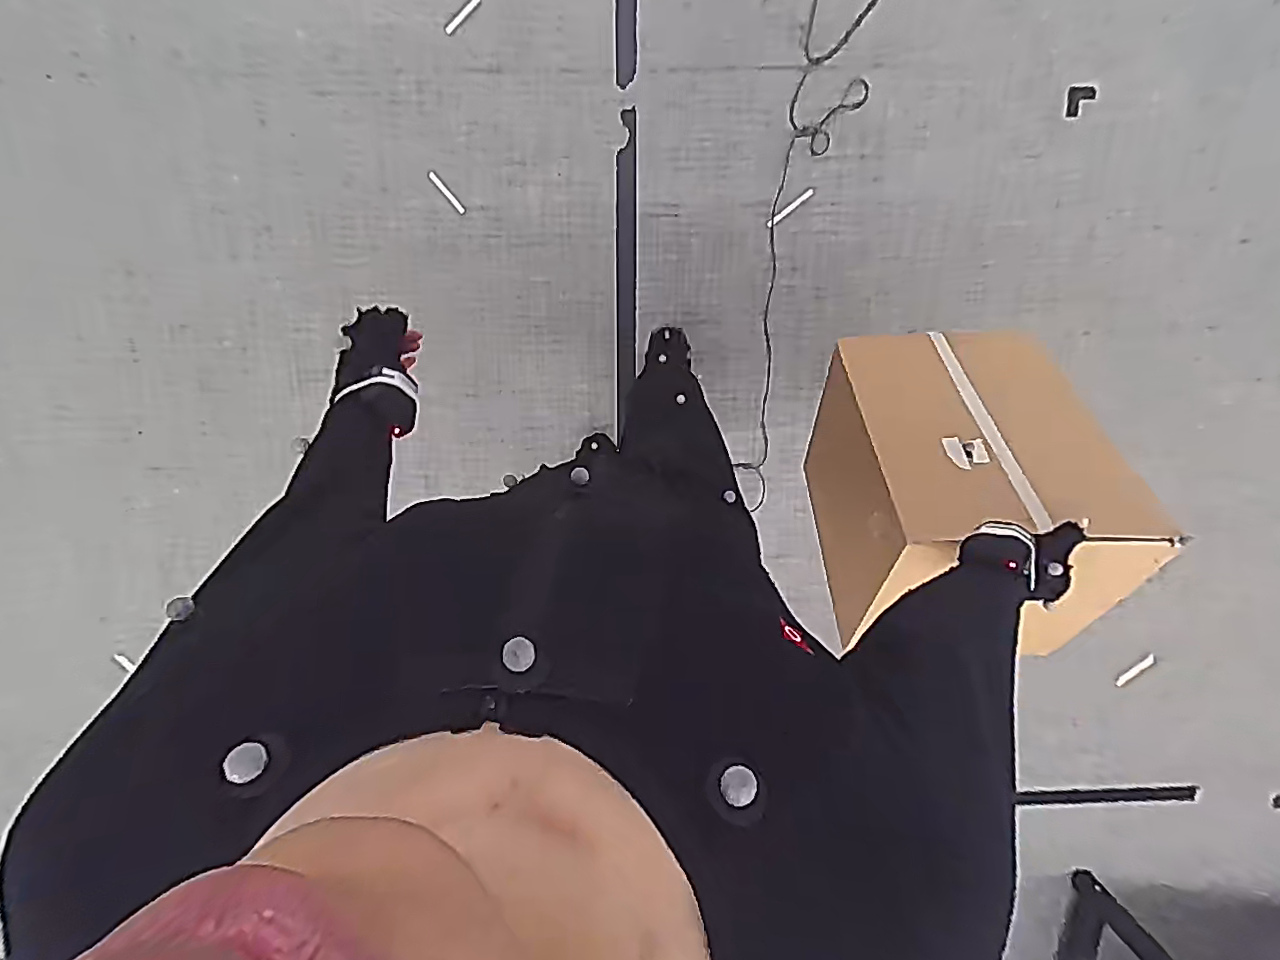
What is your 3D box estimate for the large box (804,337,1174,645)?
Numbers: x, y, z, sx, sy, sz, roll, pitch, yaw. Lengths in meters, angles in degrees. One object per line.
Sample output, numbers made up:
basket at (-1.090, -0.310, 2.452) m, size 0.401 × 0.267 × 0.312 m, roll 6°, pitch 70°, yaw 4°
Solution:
large box at (0.483, 0.015, 0.879) m, size 0.320 × 0.408 × 0.320 m, roll -1°, pitch 140°, yaw 3°
